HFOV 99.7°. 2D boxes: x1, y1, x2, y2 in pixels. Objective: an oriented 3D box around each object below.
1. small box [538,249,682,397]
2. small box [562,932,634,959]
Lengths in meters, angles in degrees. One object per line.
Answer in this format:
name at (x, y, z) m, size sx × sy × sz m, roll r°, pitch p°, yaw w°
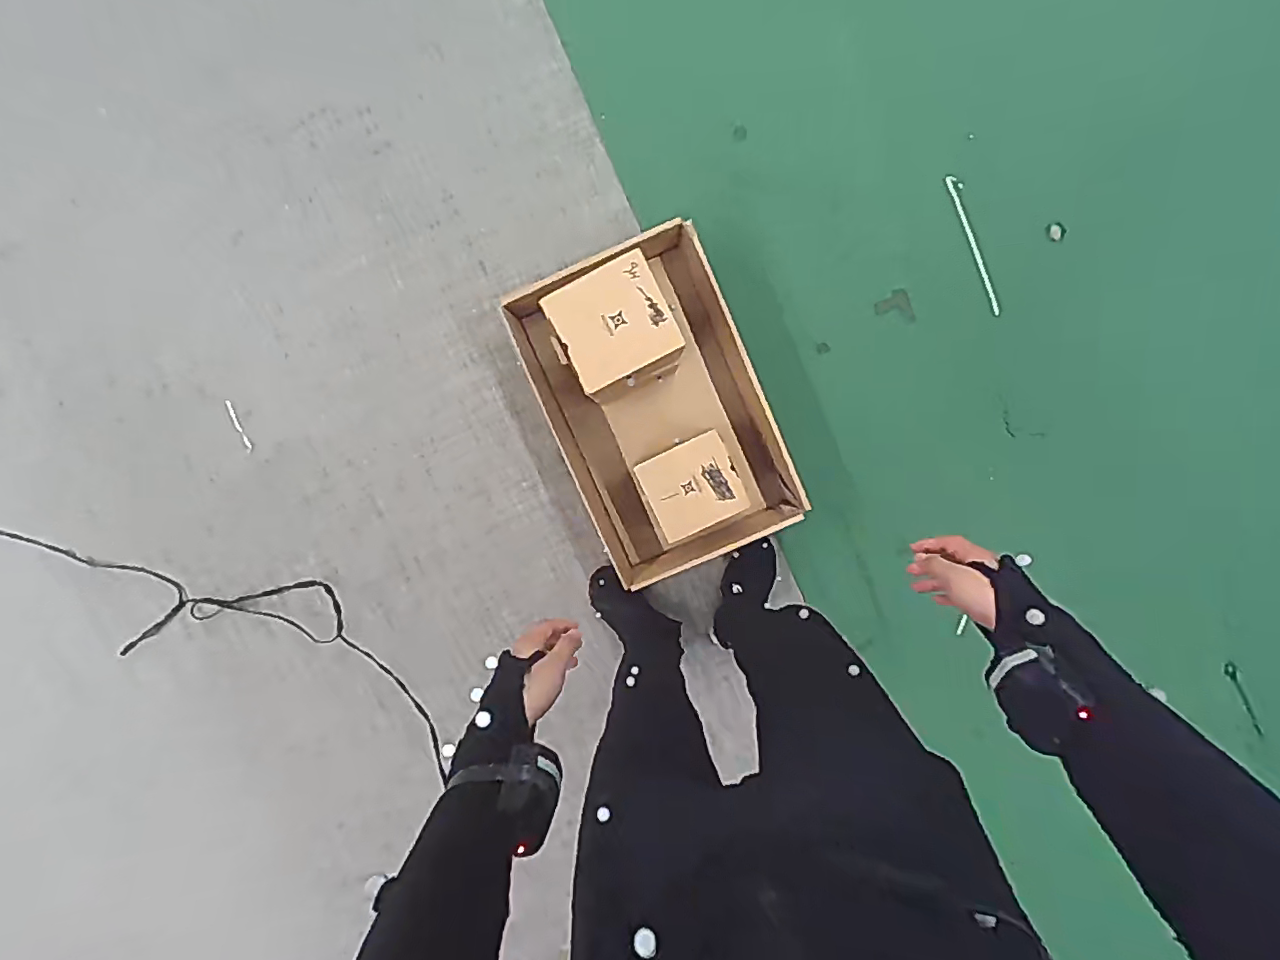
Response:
small box at (-0.043, -0.247, 0.903) m, size 0.179 × 0.176 × 0.168 m, roll -26°, pitch 95°, yaw 4°
small box at (-0.088, 1.217, 1.256) m, size 0.168 × 0.176 × 0.179 m, roll -18°, pitch 95°, yaw 1°
